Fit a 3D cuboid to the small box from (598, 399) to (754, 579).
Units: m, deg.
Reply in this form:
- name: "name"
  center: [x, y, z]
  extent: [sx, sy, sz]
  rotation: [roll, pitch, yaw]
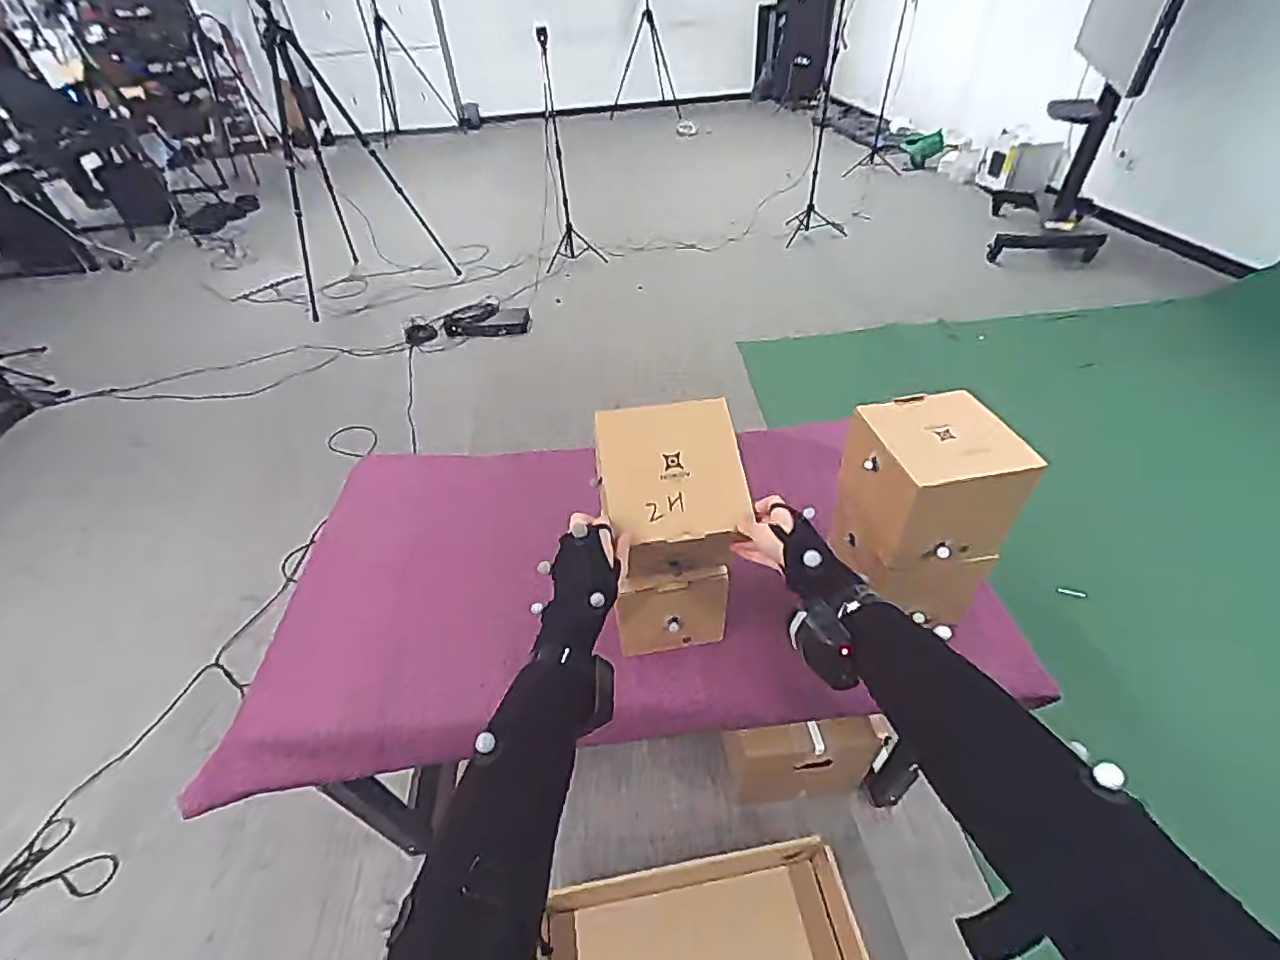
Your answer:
- name: "small box"
  center: [0.034, 0.017, 0.707]
  extent: [0.168, 0.176, 0.179]
  rotation: [-7, 68, -5]

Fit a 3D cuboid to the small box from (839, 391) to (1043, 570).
- name: "small box"
  center: [0.399, -0.001, 0.759]
  extent: [0.168, 0.176, 0.179]
  rotation: [-9, 42, -3]

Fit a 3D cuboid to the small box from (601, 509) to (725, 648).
- name: "small box"
  center: [0.034, 0.151, 0.868]
  extent: [0.168, 0.176, 0.179]
  rotation: [-8, 42, -5]

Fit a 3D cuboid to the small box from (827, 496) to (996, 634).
- name: "small box"
  center: [0.415, 0.121, 0.867]
  extent: [0.168, 0.176, 0.179]
  rotation: [-7, 42, -1]
